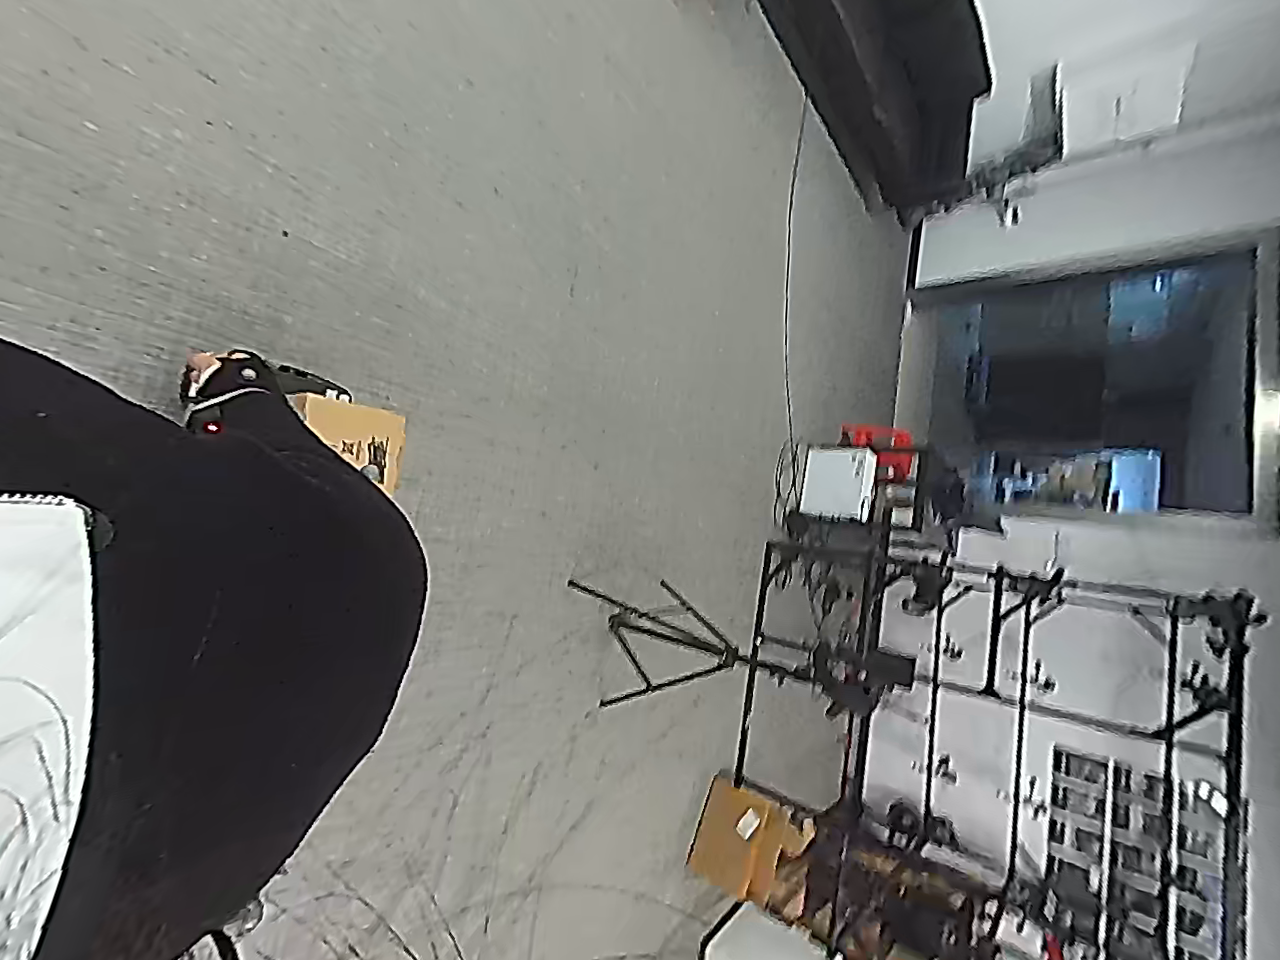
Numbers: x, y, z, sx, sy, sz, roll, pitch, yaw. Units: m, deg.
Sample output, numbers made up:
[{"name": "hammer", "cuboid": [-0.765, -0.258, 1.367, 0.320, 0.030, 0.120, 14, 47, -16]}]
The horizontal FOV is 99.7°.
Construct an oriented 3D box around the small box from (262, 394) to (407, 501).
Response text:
[{"name": "small box", "cuboid": [-0.575, -0.059, 1.021, 0.179, 0.176, 0.168, 14, 82, -50]}]
